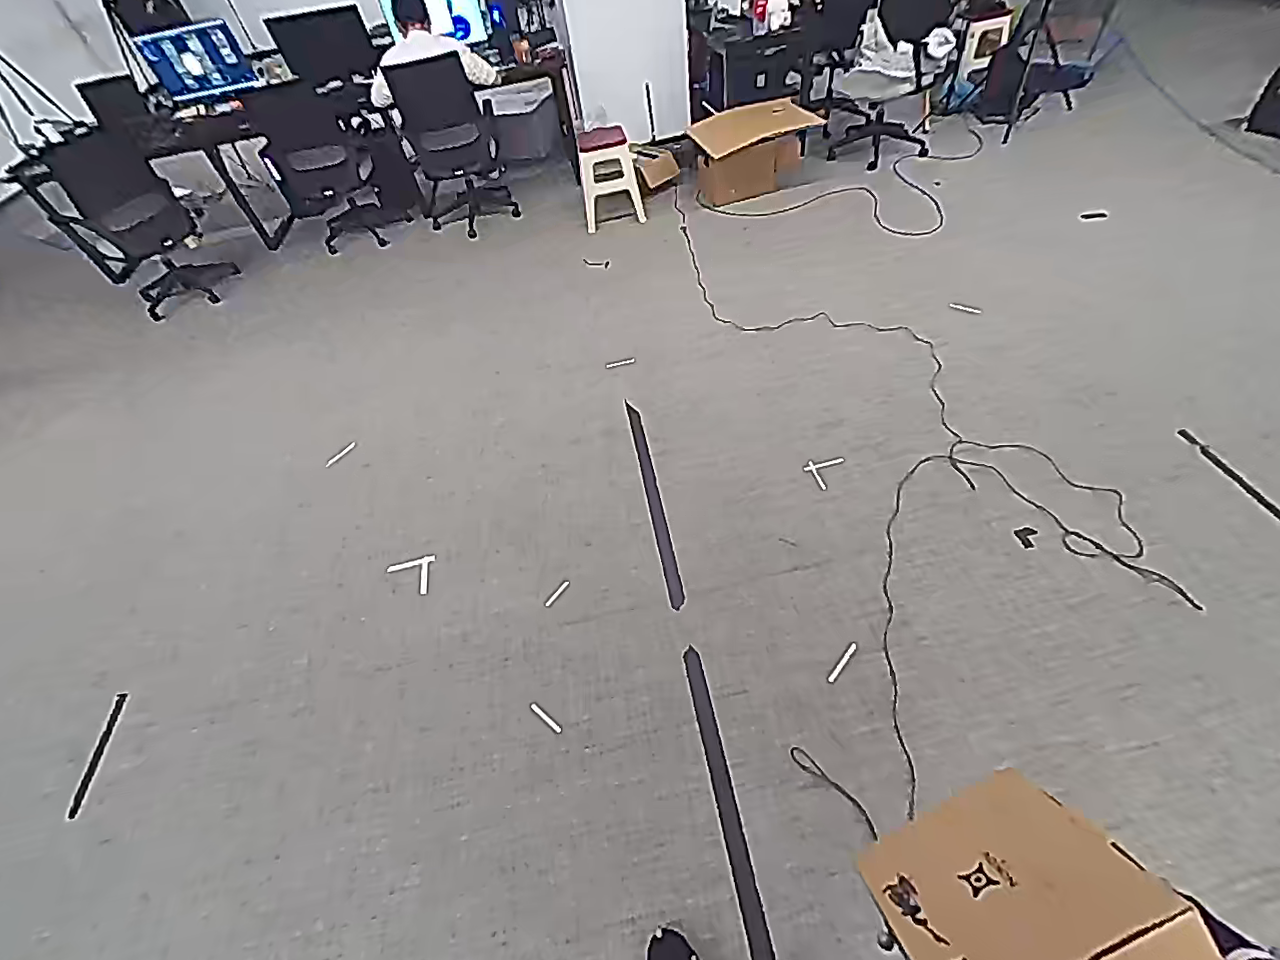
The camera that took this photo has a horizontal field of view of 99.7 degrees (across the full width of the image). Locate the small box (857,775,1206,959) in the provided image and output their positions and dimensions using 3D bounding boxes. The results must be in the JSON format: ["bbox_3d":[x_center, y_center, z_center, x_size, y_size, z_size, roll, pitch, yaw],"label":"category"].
[{"bbox_3d":[0.319,0.393,0.436,0.179,0.168,0.176,-28,90,-1],"label":"small box"}]
